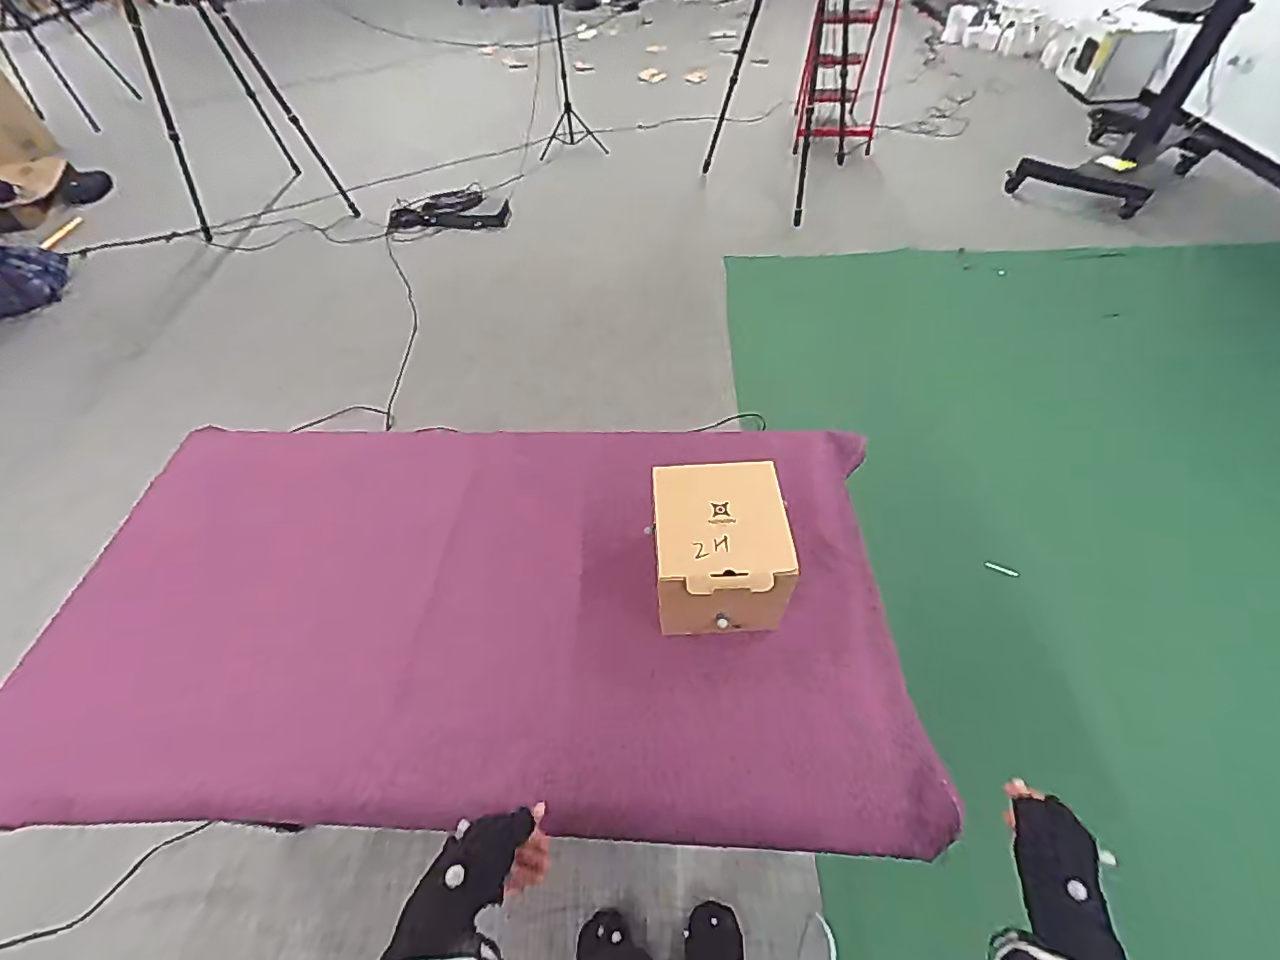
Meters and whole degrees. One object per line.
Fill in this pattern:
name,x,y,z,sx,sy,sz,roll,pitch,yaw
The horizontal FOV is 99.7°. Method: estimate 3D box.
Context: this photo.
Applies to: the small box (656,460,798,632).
small box,0.106,0.093,0.746,0.168,0.176,0.179,-3,52,1
